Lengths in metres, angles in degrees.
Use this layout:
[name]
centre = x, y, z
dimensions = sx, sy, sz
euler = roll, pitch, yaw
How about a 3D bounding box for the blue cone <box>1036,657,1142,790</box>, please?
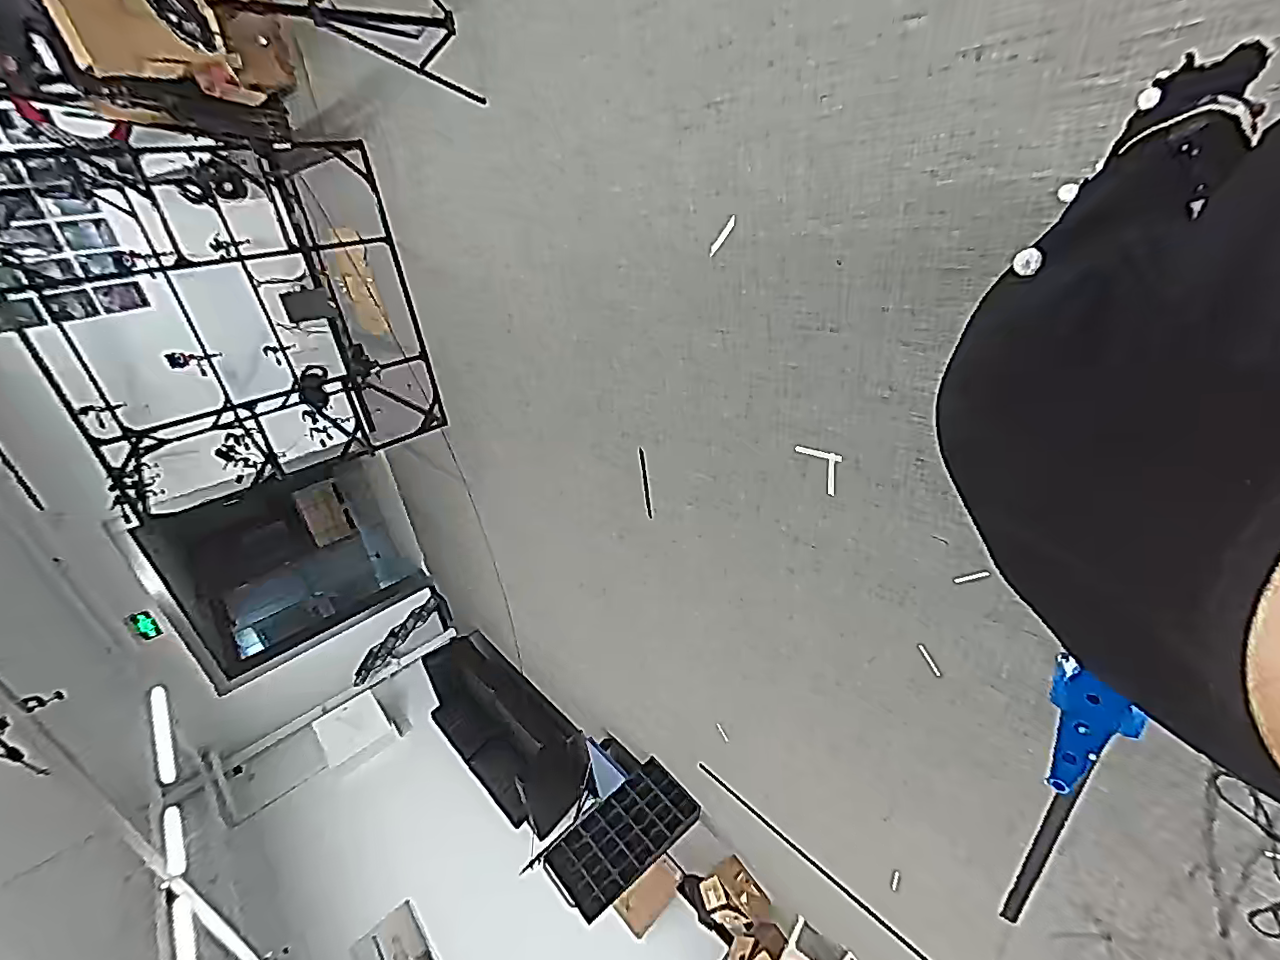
[blue cone]
centre = 1.102, 0.648, 1.373
dimensions = 0.192, 0.380, 0.193
euler = 20, 127, 46
